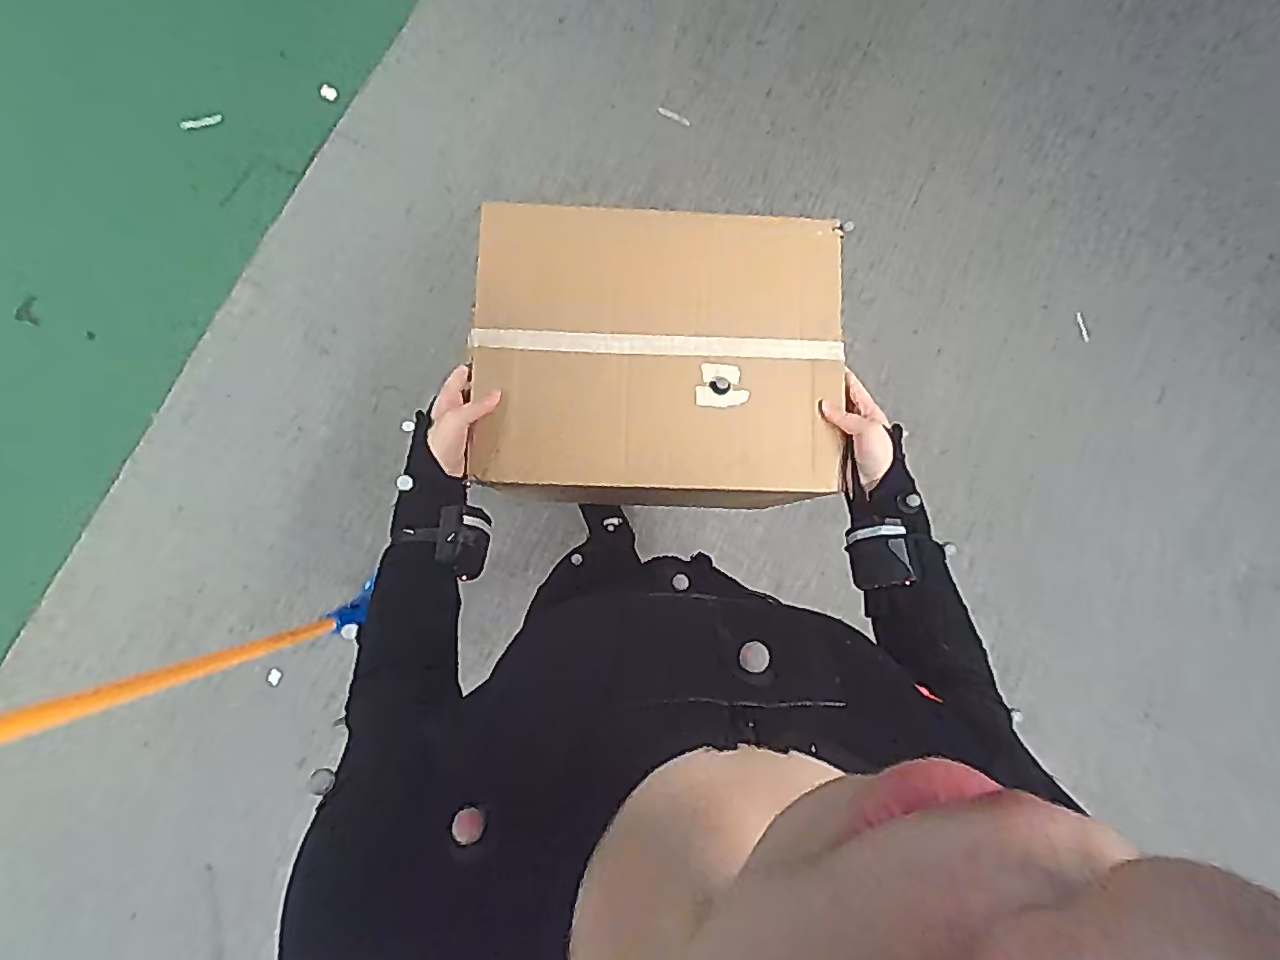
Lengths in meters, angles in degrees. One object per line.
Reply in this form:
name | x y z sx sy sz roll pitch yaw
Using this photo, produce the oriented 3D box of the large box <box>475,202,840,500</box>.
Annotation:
large box | 0.013 -0.139 0.744 0.408 0.320 0.320 2 84 -3
